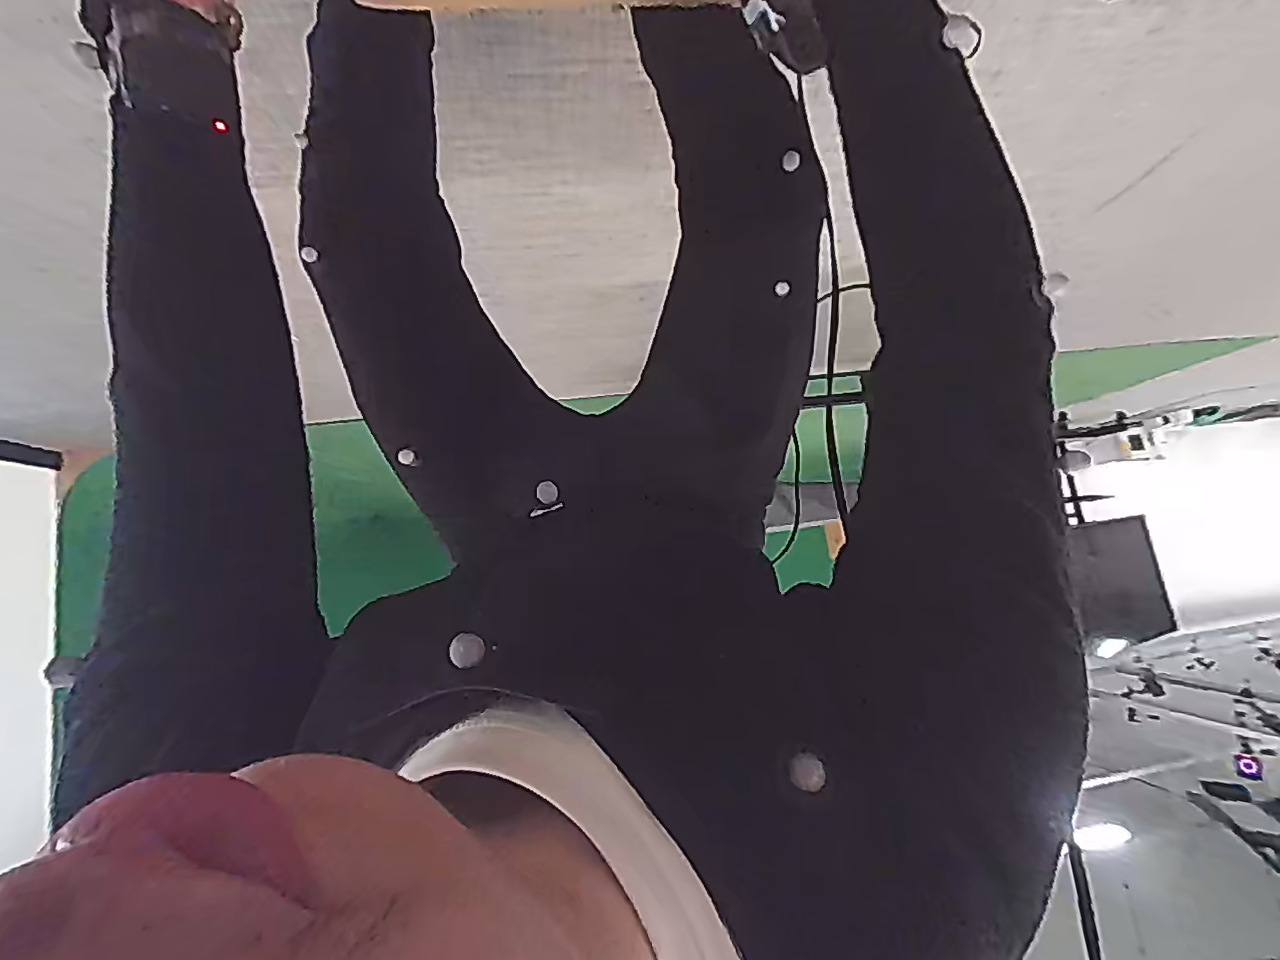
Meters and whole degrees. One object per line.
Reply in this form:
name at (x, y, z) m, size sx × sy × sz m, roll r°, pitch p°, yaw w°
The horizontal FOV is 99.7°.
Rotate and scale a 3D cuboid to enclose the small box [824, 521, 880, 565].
small box at (0.946, 0.281, 2.429) m, size 0.168 × 0.176 × 0.179 m, roll -9°, pitch 171°, yaw -3°
